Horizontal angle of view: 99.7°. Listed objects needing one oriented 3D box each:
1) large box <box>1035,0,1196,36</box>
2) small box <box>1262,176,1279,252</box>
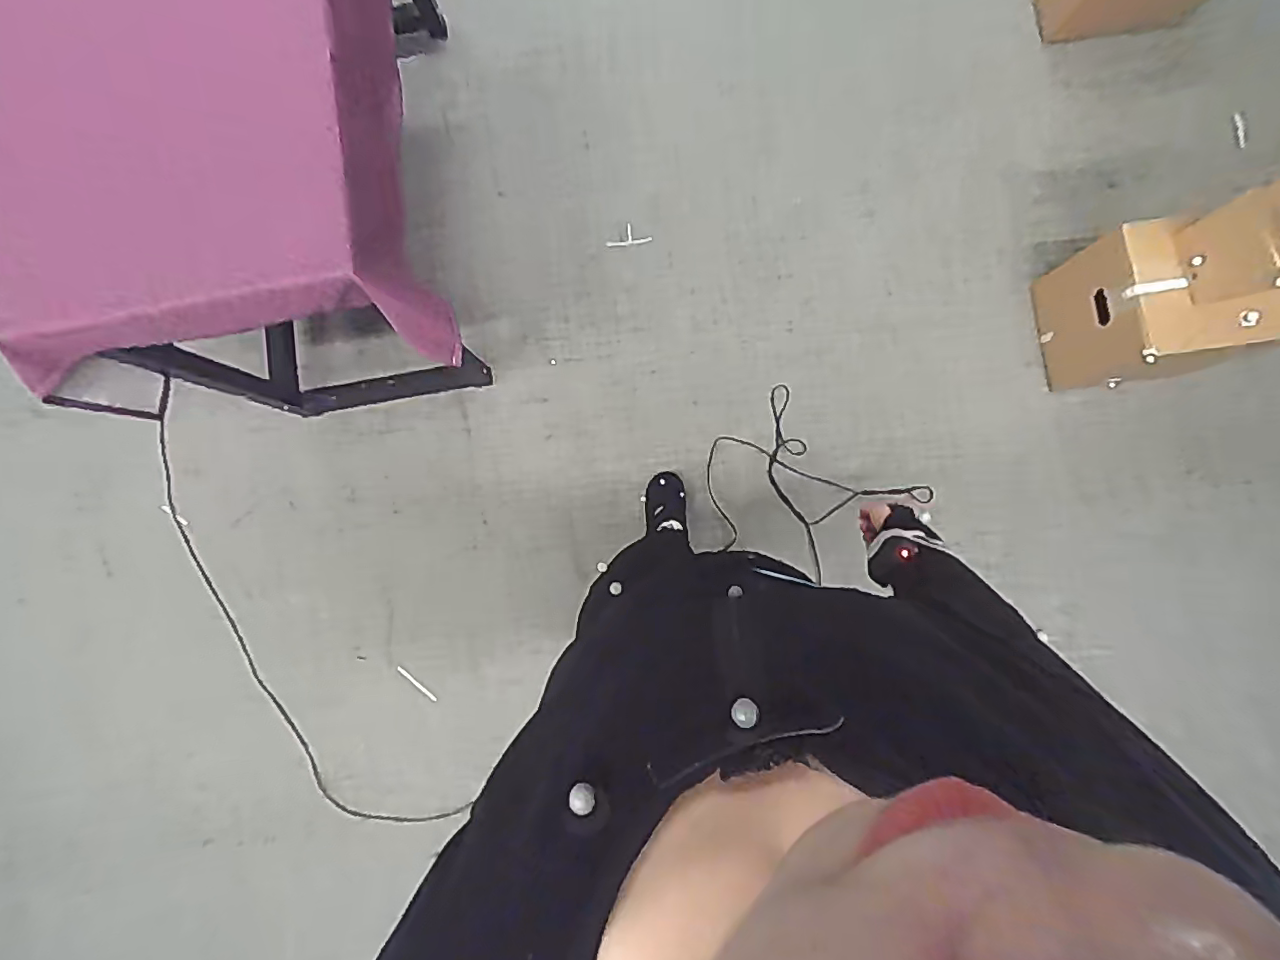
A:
[{"bbox_3d":[1.334,-1.466,1.425,0.408,0.320,0.320,-7,85,1],"label":"large box"},{"bbox_3d":[1.265,-0.506,0.941,0.179,0.176,0.168,-16,84,2],"label":"small box"}]
